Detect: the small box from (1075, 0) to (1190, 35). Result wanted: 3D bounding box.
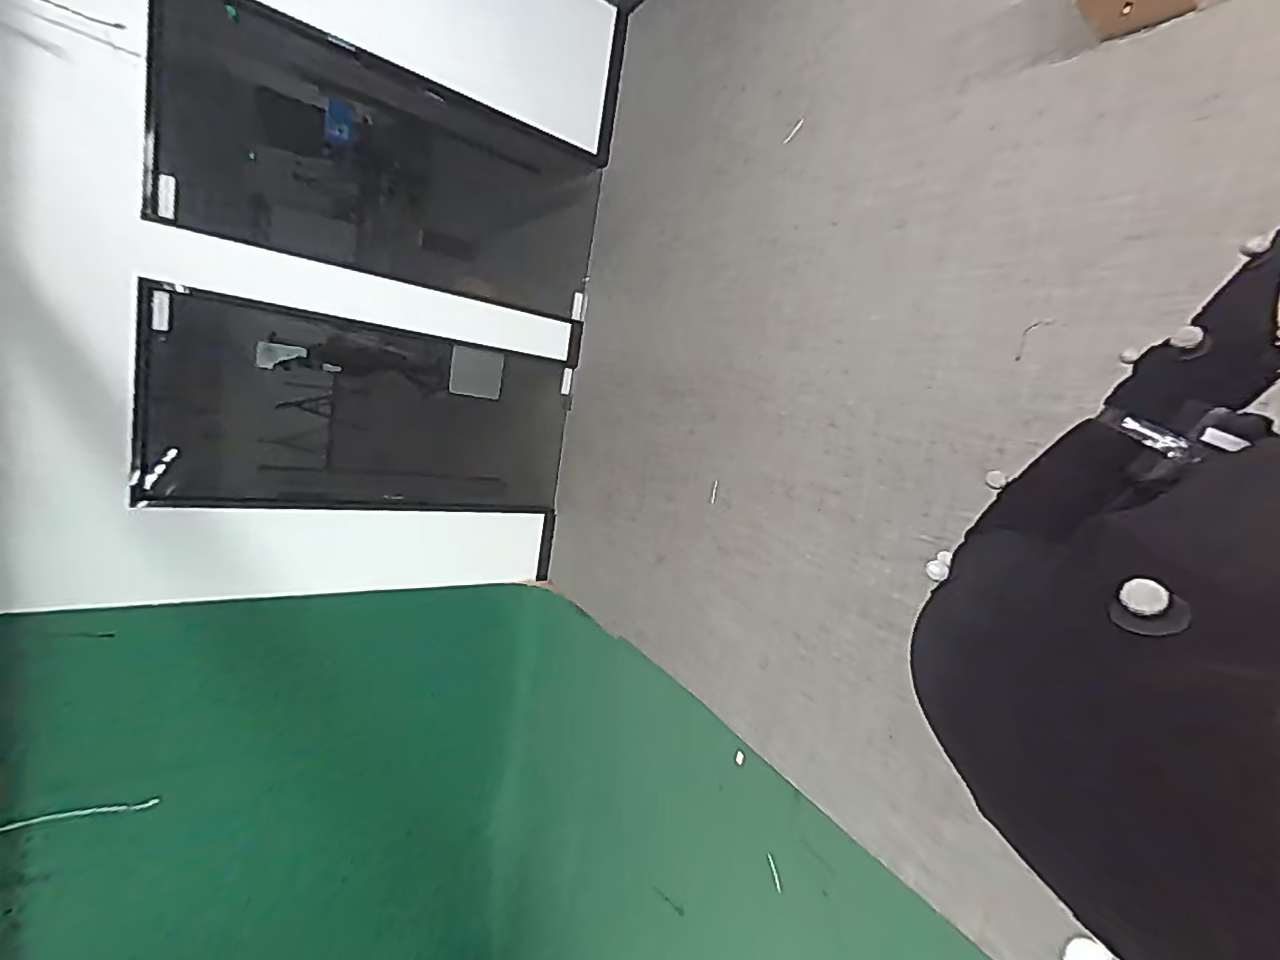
[{"bbox_3d":[1.078,-1.103,1.144,0.179,0.176,0.168,24,107,55],"label":"small box"}]
